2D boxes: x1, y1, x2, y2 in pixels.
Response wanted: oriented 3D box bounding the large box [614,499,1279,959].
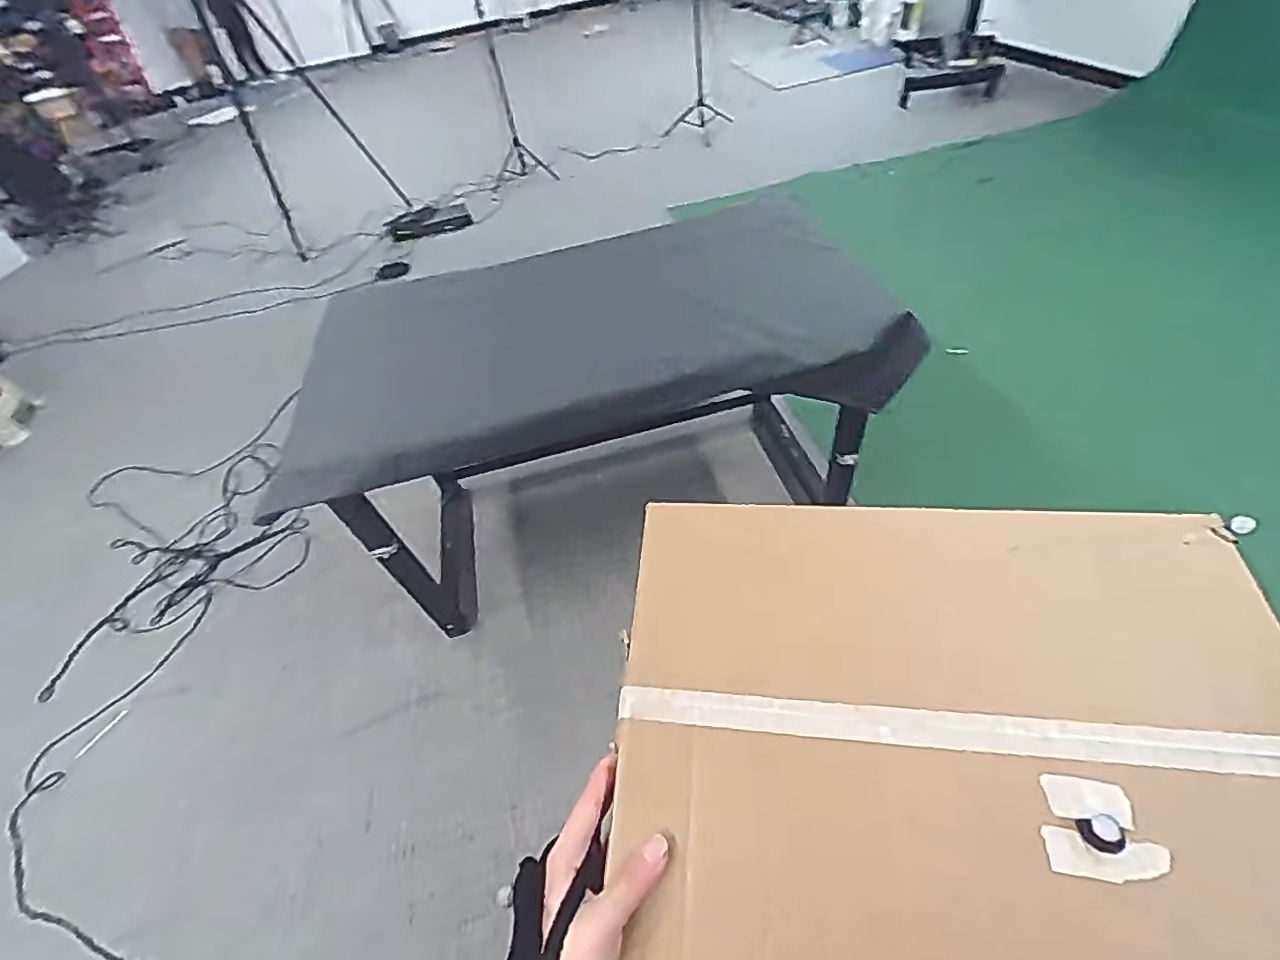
[{"bbox_3d":[0.209,0.225,0.475,0.408,0.320,0.320,1,59,9],"label":"large box"}]
